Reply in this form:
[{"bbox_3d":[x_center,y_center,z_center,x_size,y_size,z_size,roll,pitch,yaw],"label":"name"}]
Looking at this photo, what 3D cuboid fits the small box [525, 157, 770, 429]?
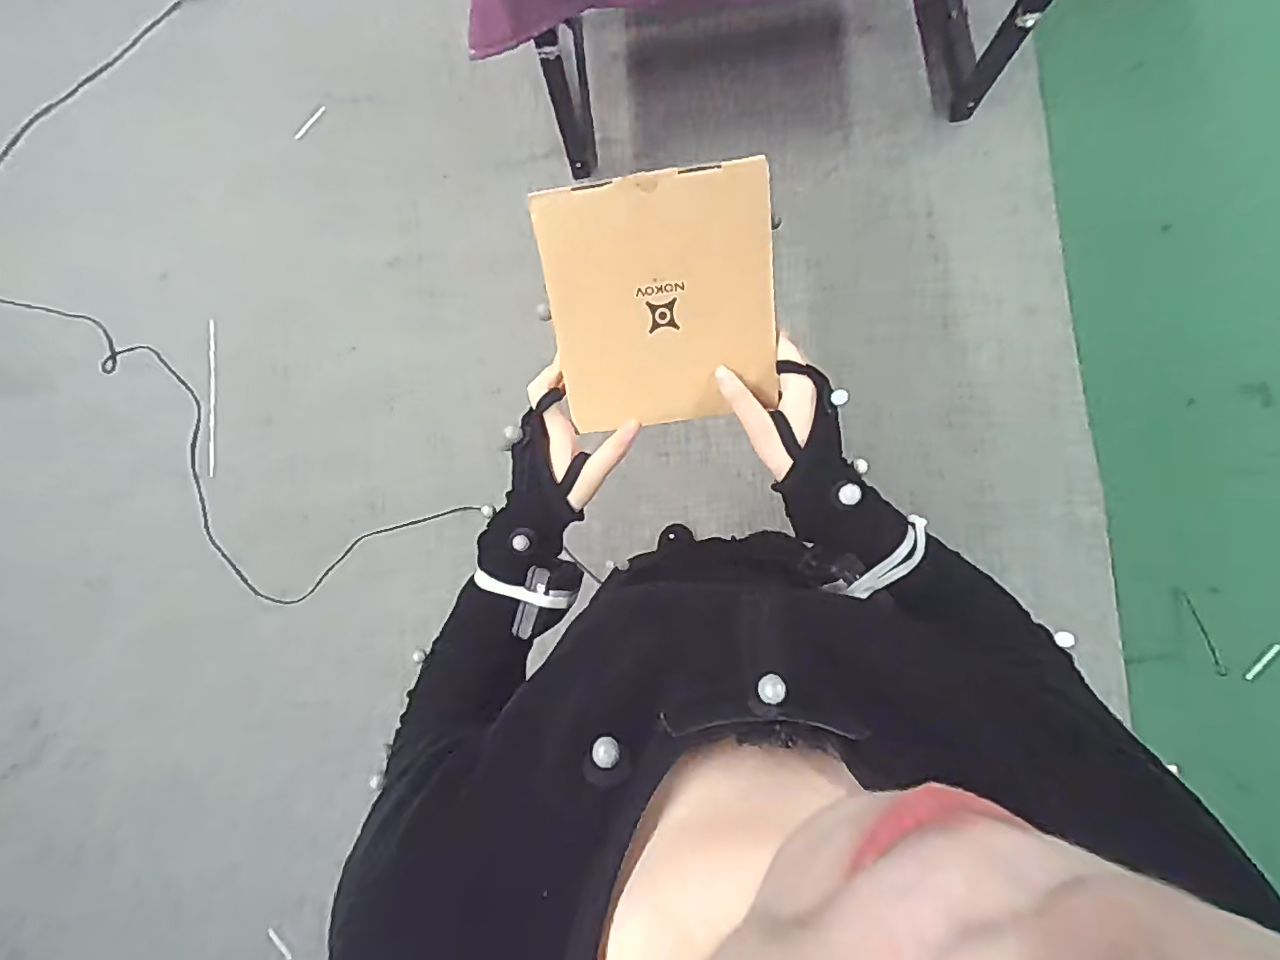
[{"bbox_3d":[0.012,-0.161,0.474,0.168,0.176,0.179,-8,112,3],"label":"small box"}]
